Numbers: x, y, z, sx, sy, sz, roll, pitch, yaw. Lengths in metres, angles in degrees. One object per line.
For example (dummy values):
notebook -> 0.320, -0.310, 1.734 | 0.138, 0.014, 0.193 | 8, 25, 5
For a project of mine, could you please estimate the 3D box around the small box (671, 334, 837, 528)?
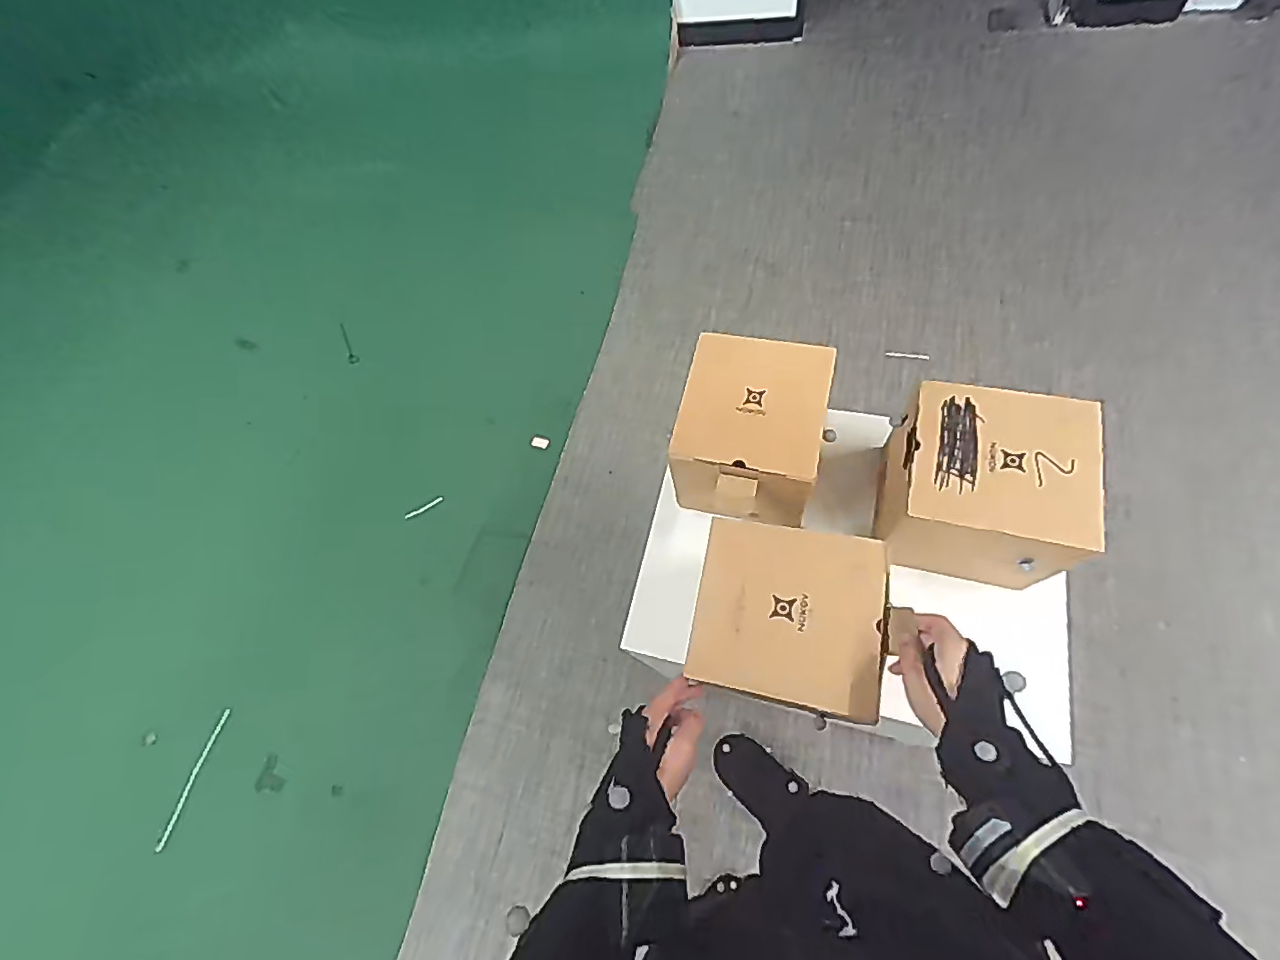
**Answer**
small box -> 0.143, -0.057, 0.694 | 0.168, 0.176, 0.179 | 11, 69, 13

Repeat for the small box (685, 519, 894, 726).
small box -> 0.162, 0.157, 0.584 | 0.179, 0.176, 0.168 | 6, 67, 19
